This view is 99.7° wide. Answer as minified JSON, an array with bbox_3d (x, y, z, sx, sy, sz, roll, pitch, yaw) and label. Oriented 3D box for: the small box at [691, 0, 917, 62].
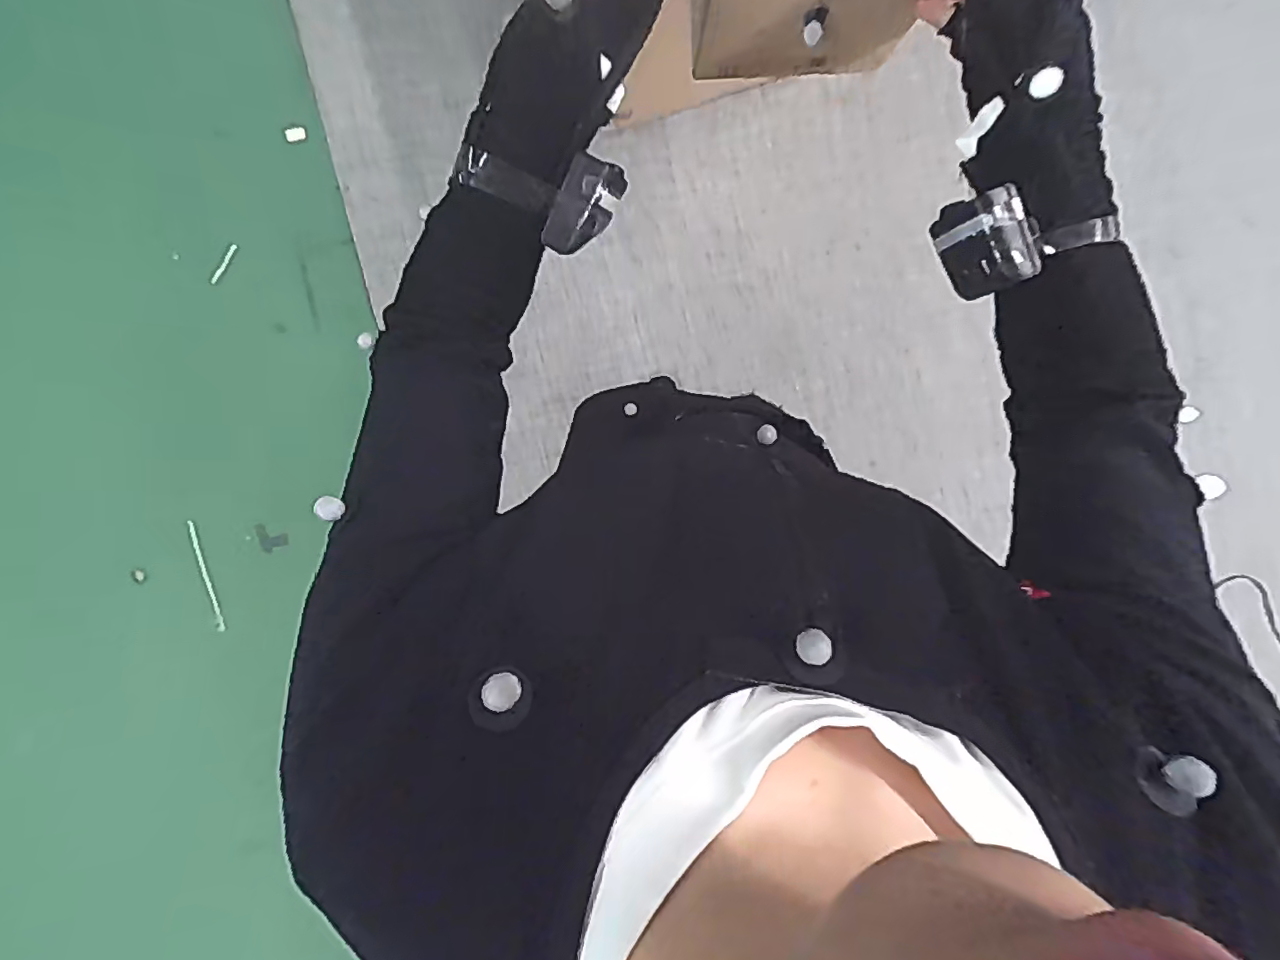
[{"bbox_3d":[0.124,-0.426,0.375,0.168,0.176,0.179,-3,100,0],"label":"small box"}]
